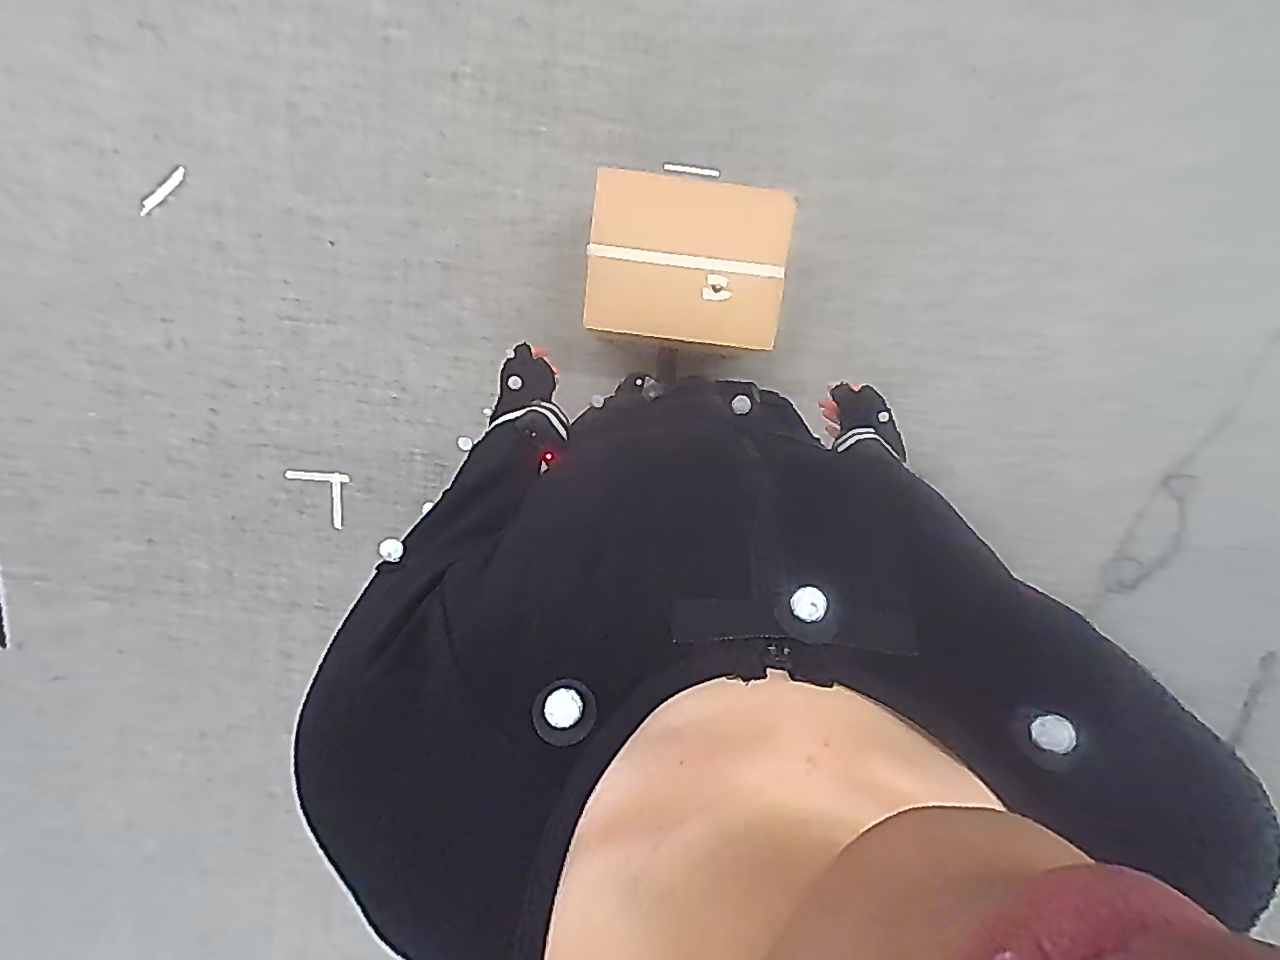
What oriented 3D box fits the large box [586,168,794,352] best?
[{"bbox_3d":[0.093,-0.477,1.248,0.408,0.320,0.320,6,101,-3],"label":"large box"}]
